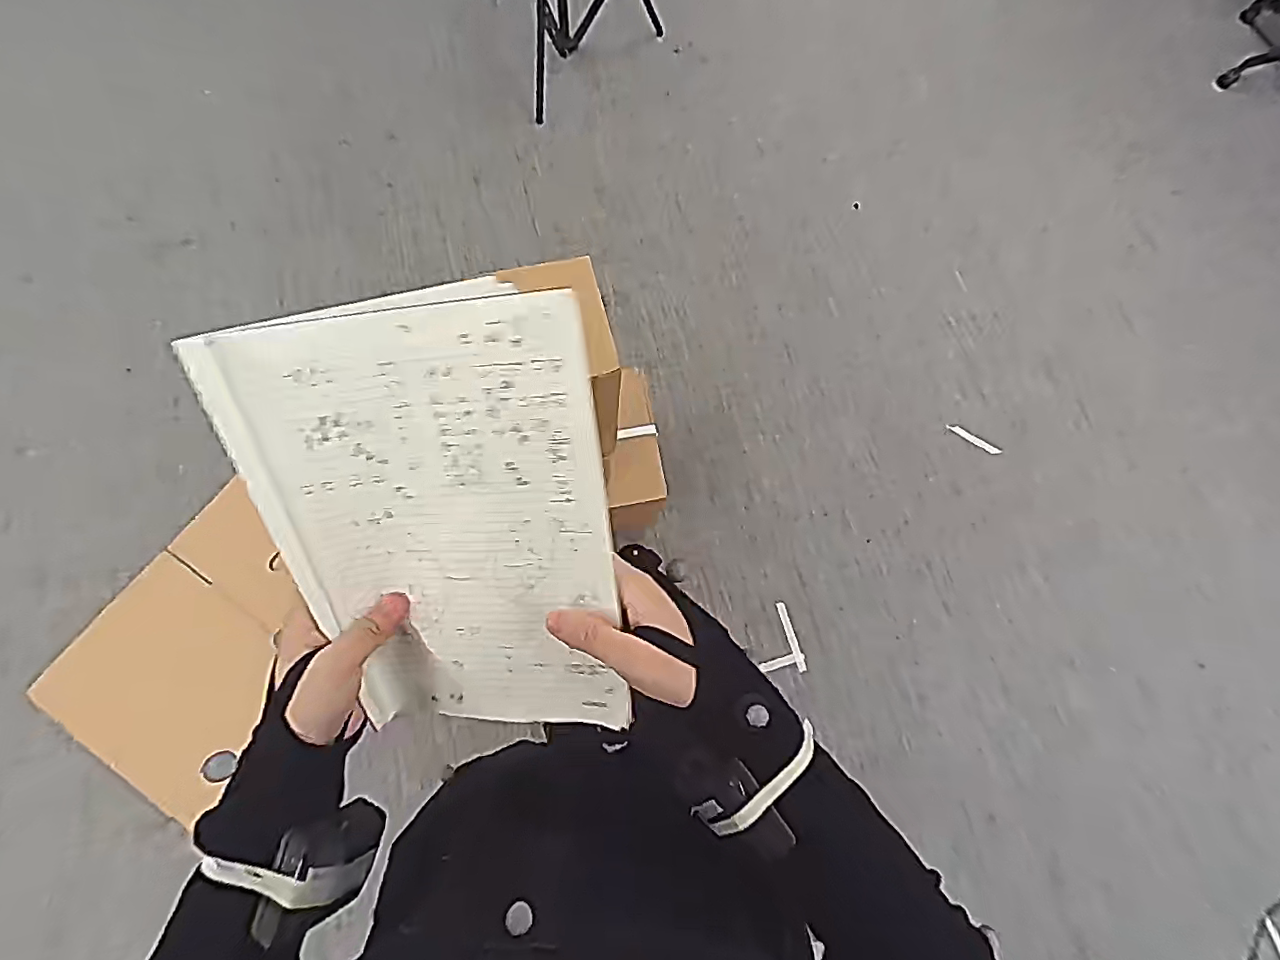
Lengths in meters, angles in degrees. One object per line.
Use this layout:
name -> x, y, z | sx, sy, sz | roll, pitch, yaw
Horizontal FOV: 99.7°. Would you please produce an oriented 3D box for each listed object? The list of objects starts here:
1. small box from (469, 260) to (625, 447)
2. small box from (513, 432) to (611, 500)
small box -> -0.123, -0.165, 0.742 | 0.168, 0.176, 0.179 | -13, 75, -8
small box -> -0.156, -0.070, 1.056 | 0.168, 0.176, 0.179 | -15, 75, -9
